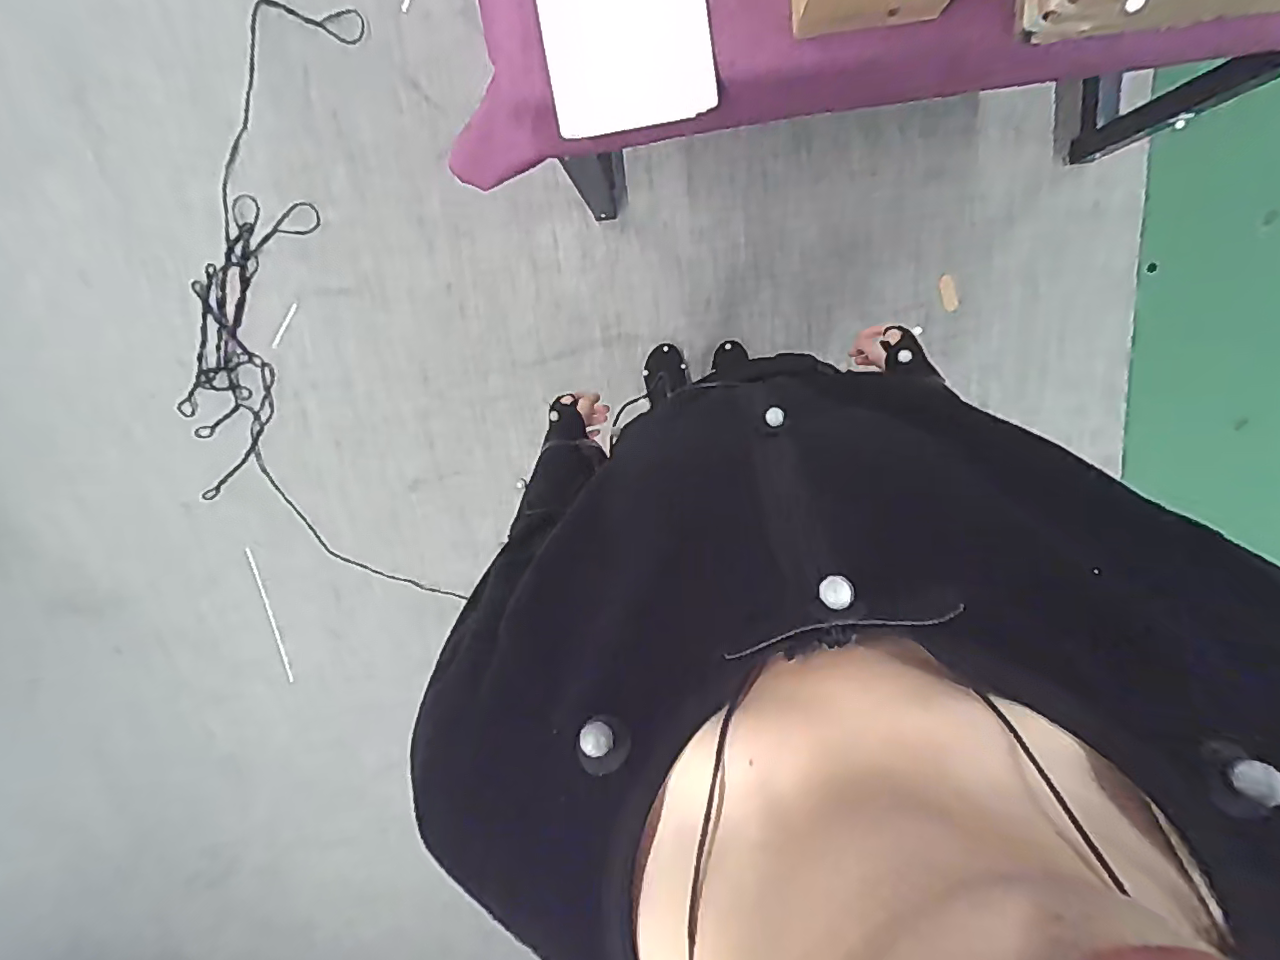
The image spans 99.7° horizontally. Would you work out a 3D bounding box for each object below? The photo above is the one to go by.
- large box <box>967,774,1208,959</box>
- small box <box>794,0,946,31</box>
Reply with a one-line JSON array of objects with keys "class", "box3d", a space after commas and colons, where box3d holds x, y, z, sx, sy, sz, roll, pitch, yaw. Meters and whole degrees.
[{"class": "large box", "box3d": [1.248, 1.123, 1.547, 0.408, 0.320, 0.320, -20, 102, 7]}, {"class": "small box", "box3d": [0.251, -0.590, 0.537, 0.168, 0.176, 0.179, -4, 101, 5]}]
